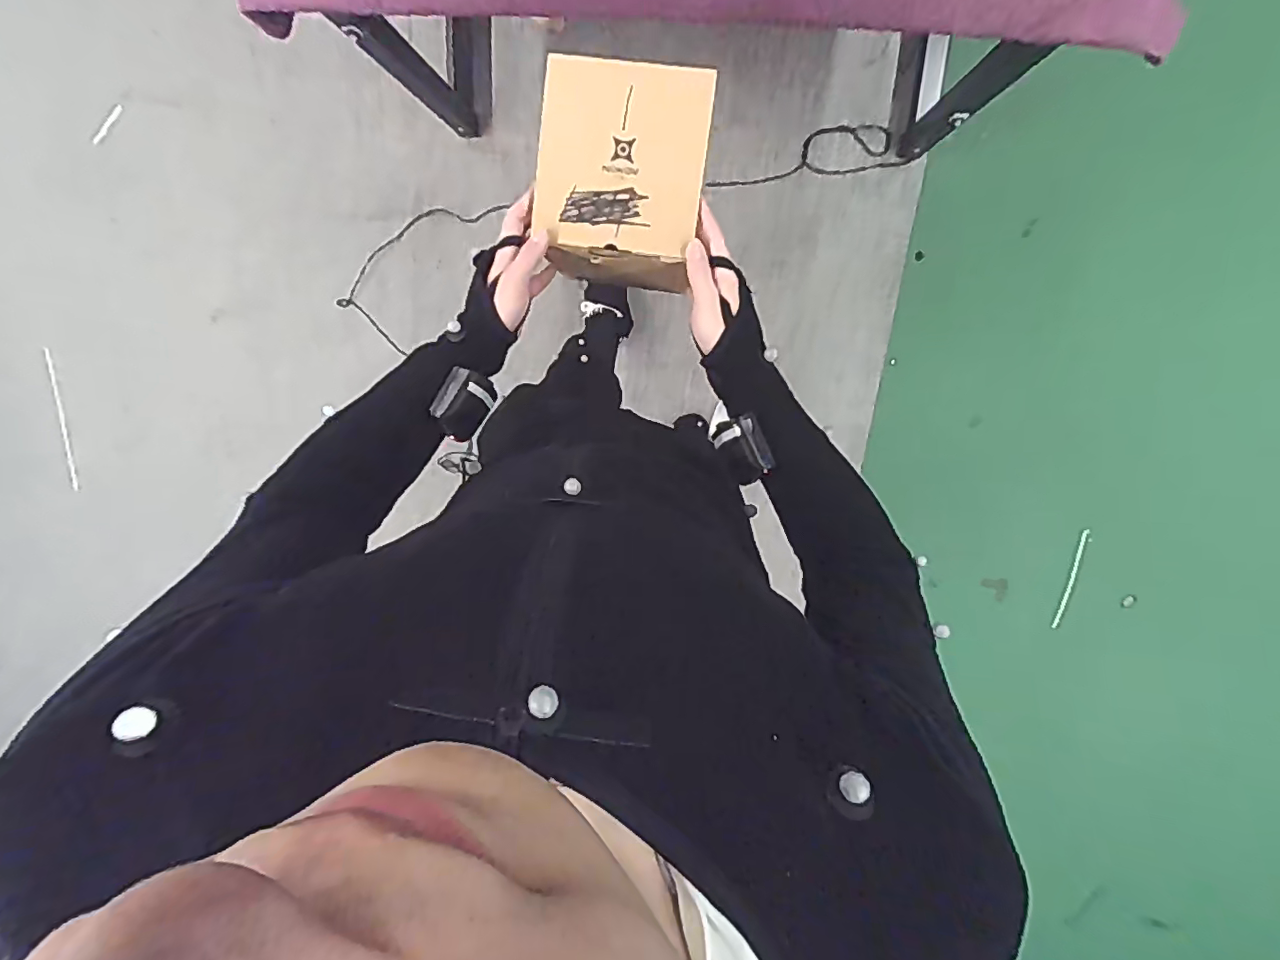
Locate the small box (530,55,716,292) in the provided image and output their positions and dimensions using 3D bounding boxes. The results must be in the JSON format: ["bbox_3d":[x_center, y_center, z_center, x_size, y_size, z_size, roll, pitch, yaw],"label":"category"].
[{"bbox_3d":[-0.013,-0.320,0.602,0.168,0.176,0.179,8,98,2],"label":"small box"}]
